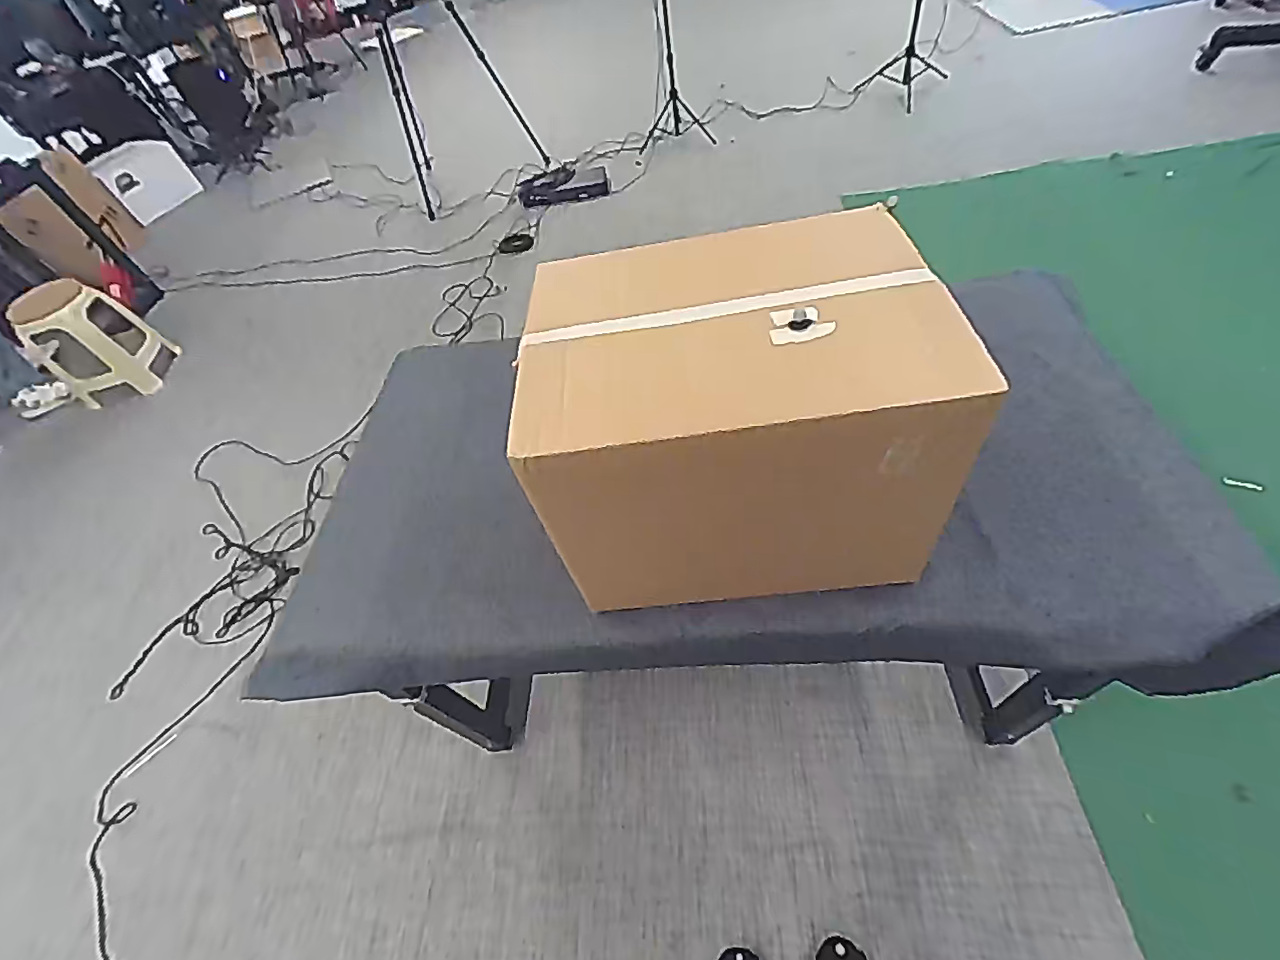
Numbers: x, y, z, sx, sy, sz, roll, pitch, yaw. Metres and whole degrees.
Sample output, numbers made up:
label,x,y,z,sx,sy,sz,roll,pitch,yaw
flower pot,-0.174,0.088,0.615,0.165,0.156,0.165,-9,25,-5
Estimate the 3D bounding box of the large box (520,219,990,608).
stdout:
label,x,y,z,sx,sy,sz,roll,pitch,yaw
large box,0.104,-0.067,0.659,0.408,0.320,0.320,-7,51,6
